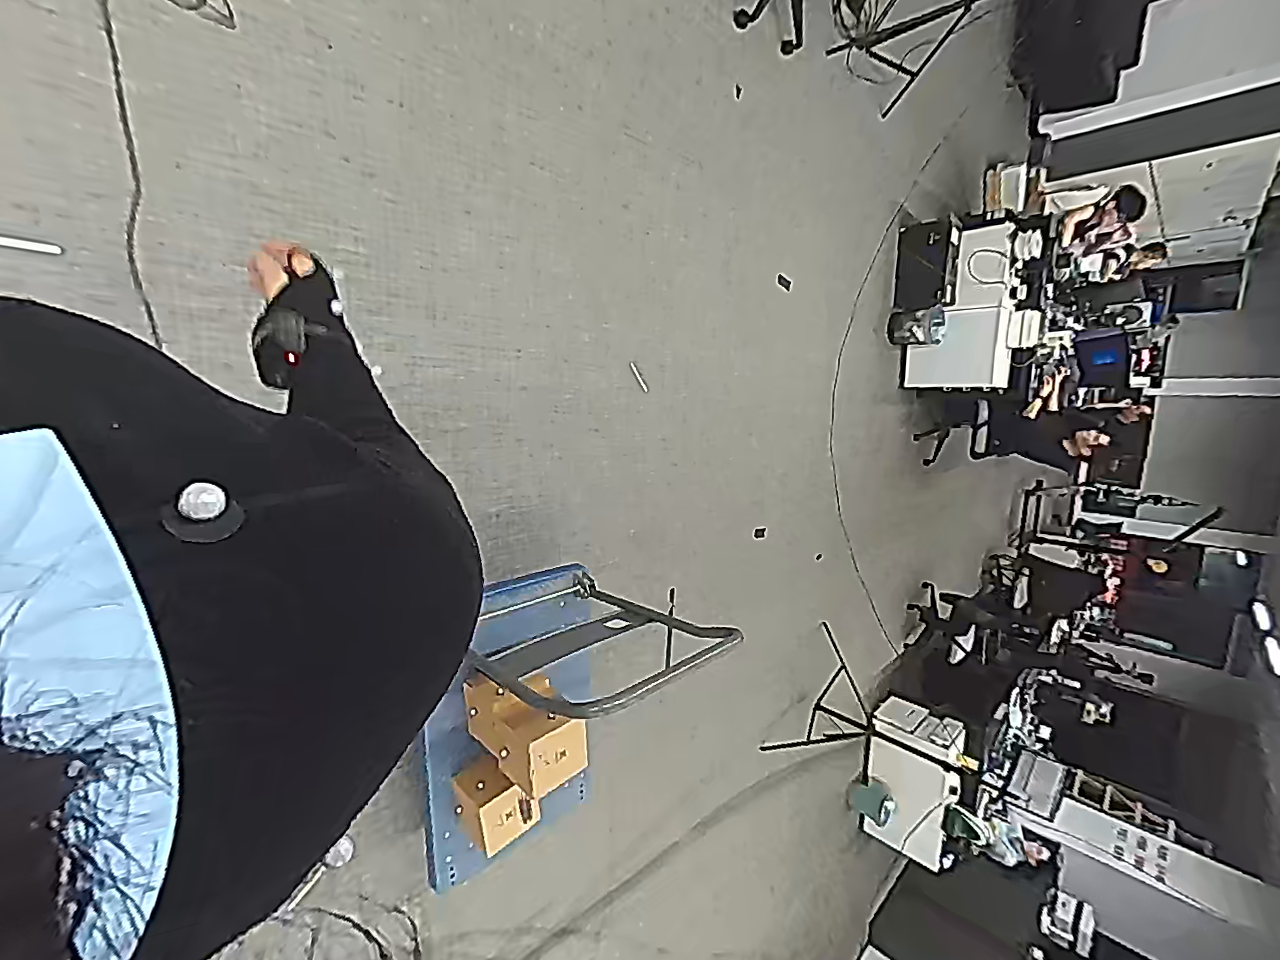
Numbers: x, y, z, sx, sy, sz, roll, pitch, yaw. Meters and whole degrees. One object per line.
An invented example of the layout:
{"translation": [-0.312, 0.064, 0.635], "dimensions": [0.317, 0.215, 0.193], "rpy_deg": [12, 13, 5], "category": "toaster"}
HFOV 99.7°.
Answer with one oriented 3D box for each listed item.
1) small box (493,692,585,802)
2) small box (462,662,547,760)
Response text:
{"translation": [-0.264, 0.690, 1.424], "dimensions": [0.179, 0.176, 0.168], "rpy_deg": [-13, 106, -43], "category": "small box"}
{"translation": [-0.380, 0.644, 1.535], "dimensions": [0.179, 0.176, 0.168], "rpy_deg": [-13, 106, -43], "category": "small box"}
